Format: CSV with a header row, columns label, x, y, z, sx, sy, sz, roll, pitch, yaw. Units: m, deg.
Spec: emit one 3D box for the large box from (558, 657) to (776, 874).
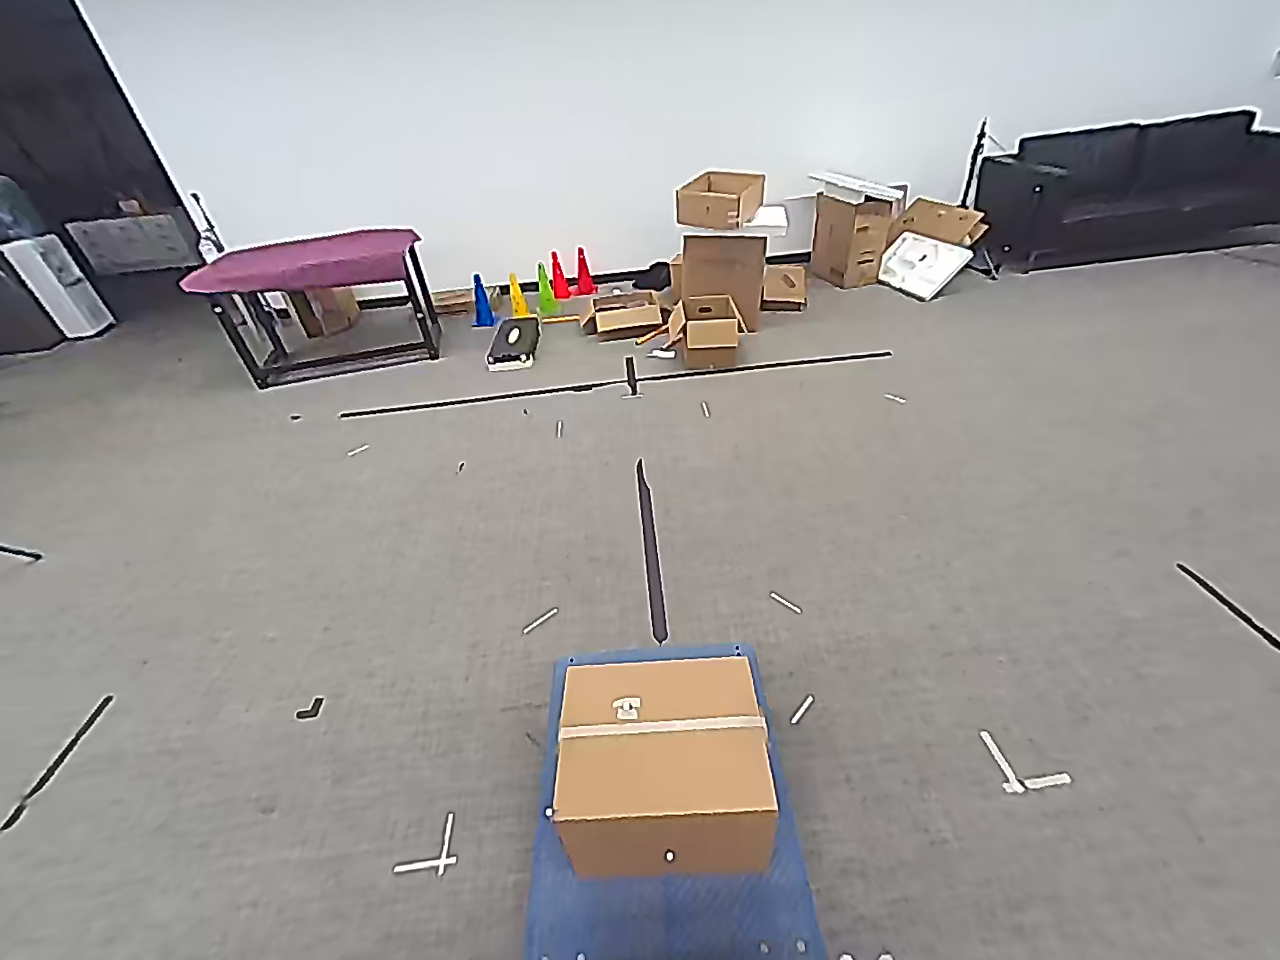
label,x,y,z,sx,sy,sz,roll,pitch,yaw
large box,0.058,0.624,1.185,0.408,0.320,0.320,-5,37,2
